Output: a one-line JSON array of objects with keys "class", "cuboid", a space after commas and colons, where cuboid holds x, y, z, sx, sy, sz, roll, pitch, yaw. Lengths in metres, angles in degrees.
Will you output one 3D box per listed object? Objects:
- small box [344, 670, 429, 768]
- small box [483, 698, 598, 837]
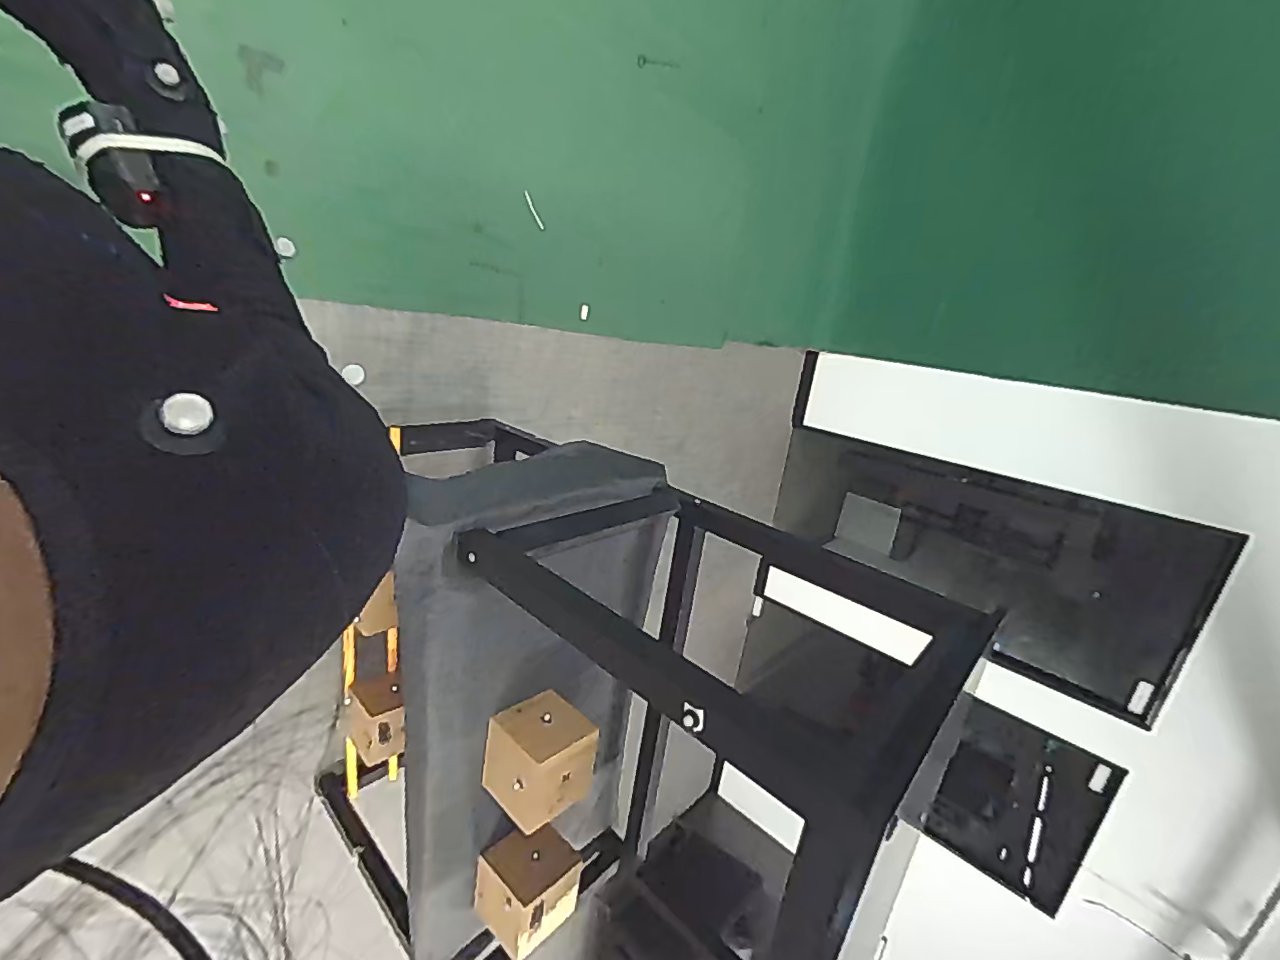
[{"class": "small box", "cuboid": [-0.745, 0.690, 1.579, 0.179, 0.176, 0.168, -6, 112, -49]}, {"class": "small box", "cuboid": [-0.216, 0.594, 1.151, 0.168, 0.176, 0.179, -6, 112, -48]}]
